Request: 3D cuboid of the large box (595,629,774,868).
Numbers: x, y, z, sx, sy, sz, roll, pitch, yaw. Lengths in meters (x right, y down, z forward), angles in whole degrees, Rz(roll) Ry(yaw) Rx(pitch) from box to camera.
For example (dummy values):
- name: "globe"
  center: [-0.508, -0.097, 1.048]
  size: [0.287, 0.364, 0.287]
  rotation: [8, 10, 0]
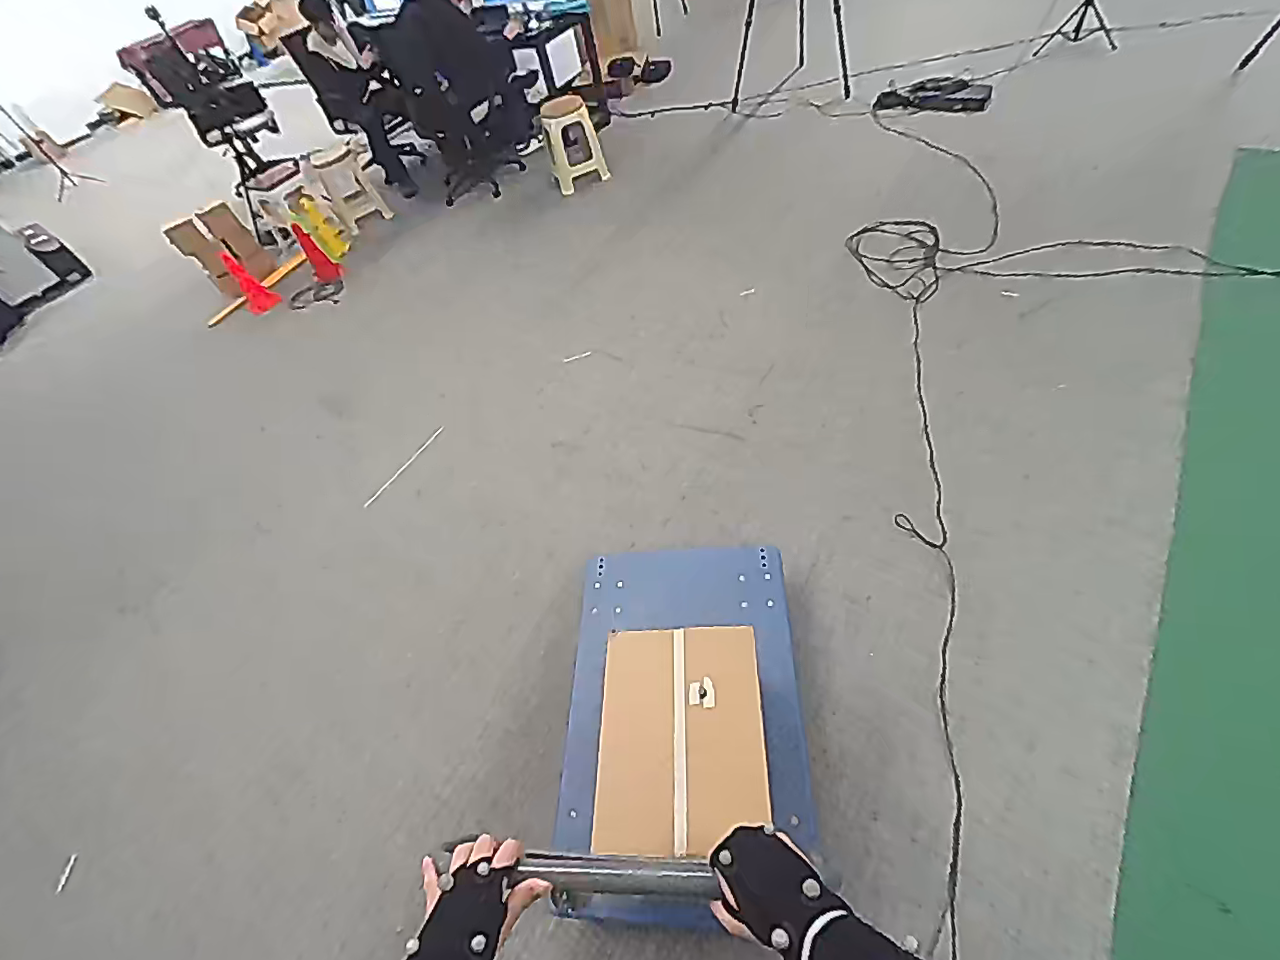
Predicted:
- name: "large box"
  center: [0.106, 0.578, 1.161]
  size: [0.320, 0.320, 0.408]
  rotation: [-5, 50, 10]
